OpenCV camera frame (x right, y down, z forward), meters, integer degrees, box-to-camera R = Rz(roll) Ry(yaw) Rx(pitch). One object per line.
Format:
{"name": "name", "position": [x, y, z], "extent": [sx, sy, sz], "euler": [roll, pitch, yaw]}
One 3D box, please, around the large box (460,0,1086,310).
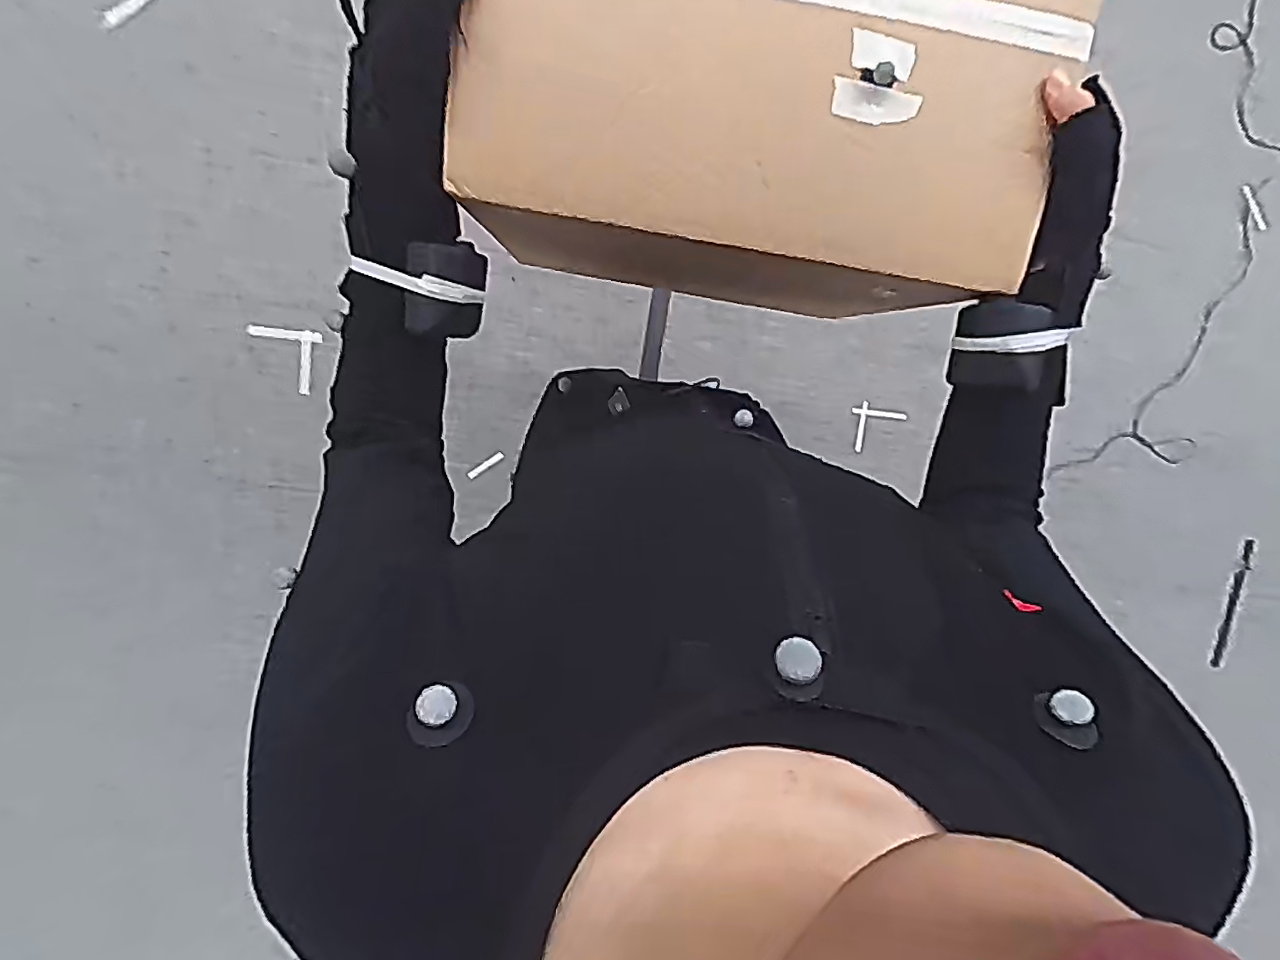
{"name": "large box", "position": [0.082, -0.349, 0.490], "extent": [0.408, 0.320, 0.320], "euler": [8, 104, -6]}
